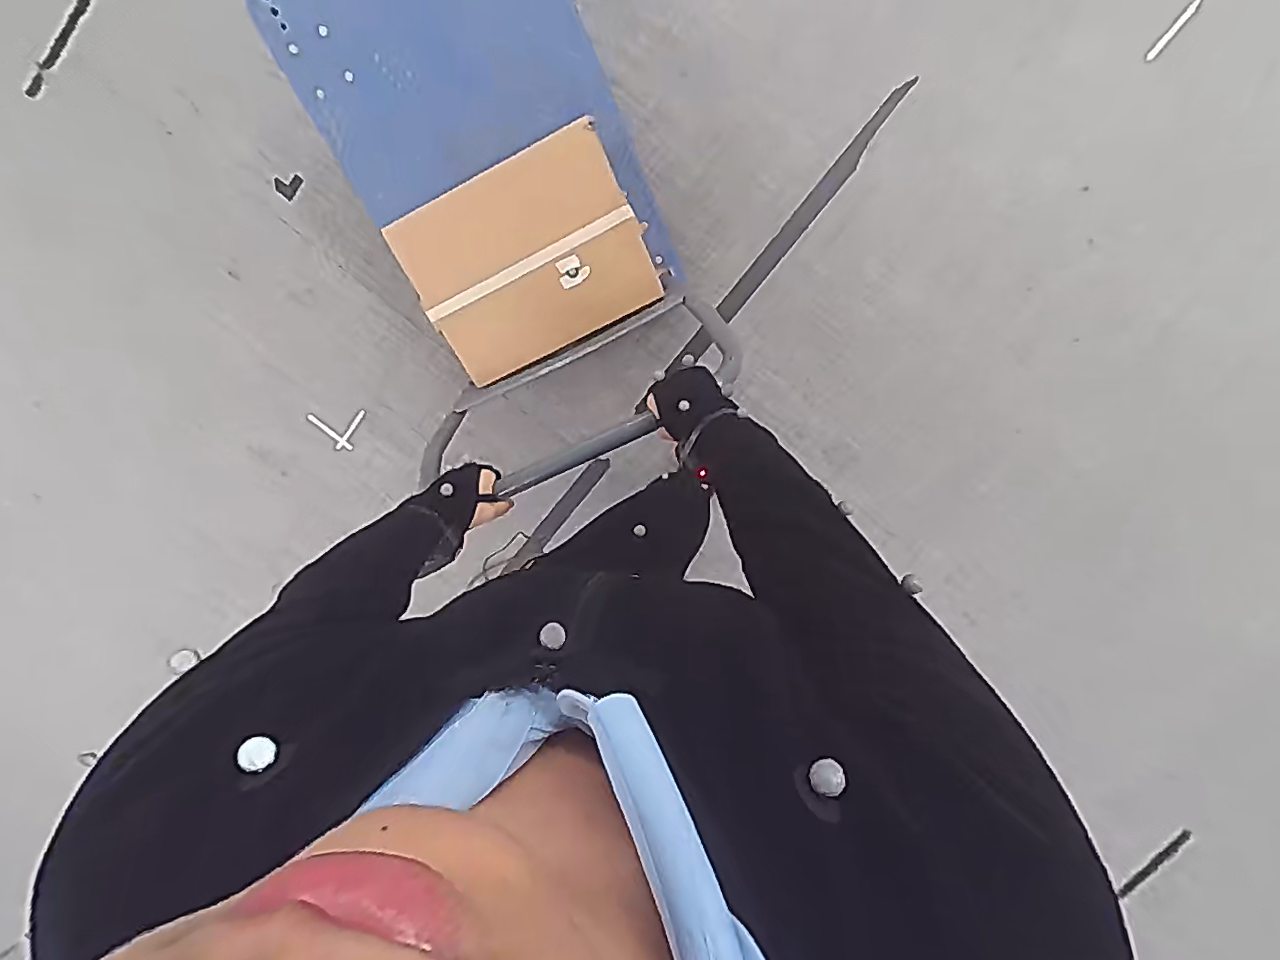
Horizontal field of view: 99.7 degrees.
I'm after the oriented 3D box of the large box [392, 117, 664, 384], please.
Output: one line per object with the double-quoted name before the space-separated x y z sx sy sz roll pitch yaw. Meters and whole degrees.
"large box" -0.207 -0.452 1.115 0.408 0.320 0.320 -26 114 6
